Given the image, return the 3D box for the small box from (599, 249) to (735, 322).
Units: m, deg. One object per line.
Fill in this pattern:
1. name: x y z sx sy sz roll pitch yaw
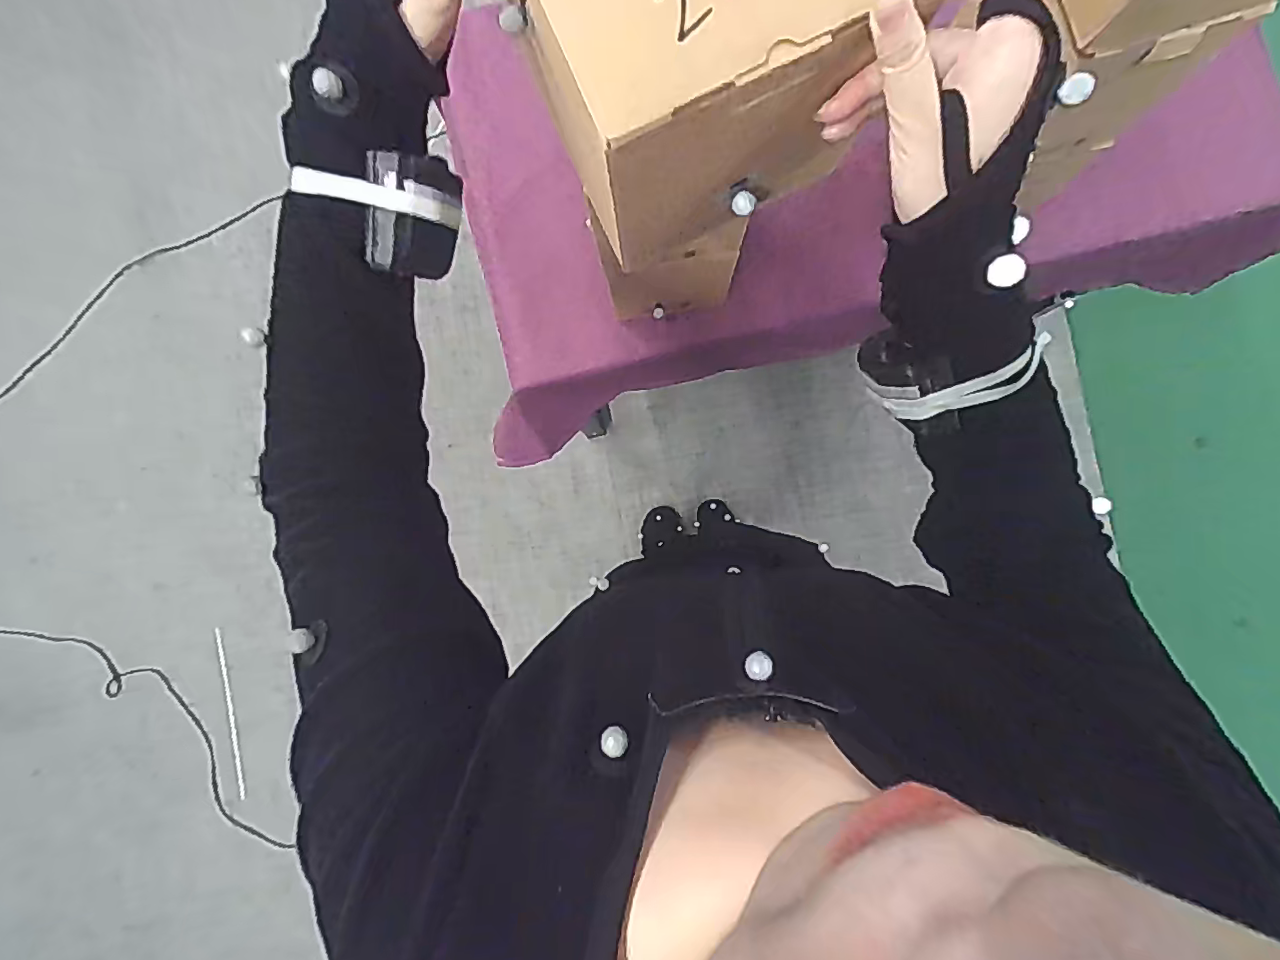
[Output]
1. small box: 0.026 -0.337 0.735 0.168 0.176 0.179 -8 87 2

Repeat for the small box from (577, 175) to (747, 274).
1. small box: 0.019 -0.347 0.570 0.168 0.176 0.179 -9 85 3

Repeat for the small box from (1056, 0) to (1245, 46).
1. small box: 0.441 -0.480 0.398 0.179 0.176 0.168 -15 86 2

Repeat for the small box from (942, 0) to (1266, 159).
1. small box: 0.452 -0.468 0.560 0.168 0.176 0.179 -14 85 1

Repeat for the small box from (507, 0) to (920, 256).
1. small box: 0.020 -0.264 0.307 0.168 0.176 0.179 -24 93 3
